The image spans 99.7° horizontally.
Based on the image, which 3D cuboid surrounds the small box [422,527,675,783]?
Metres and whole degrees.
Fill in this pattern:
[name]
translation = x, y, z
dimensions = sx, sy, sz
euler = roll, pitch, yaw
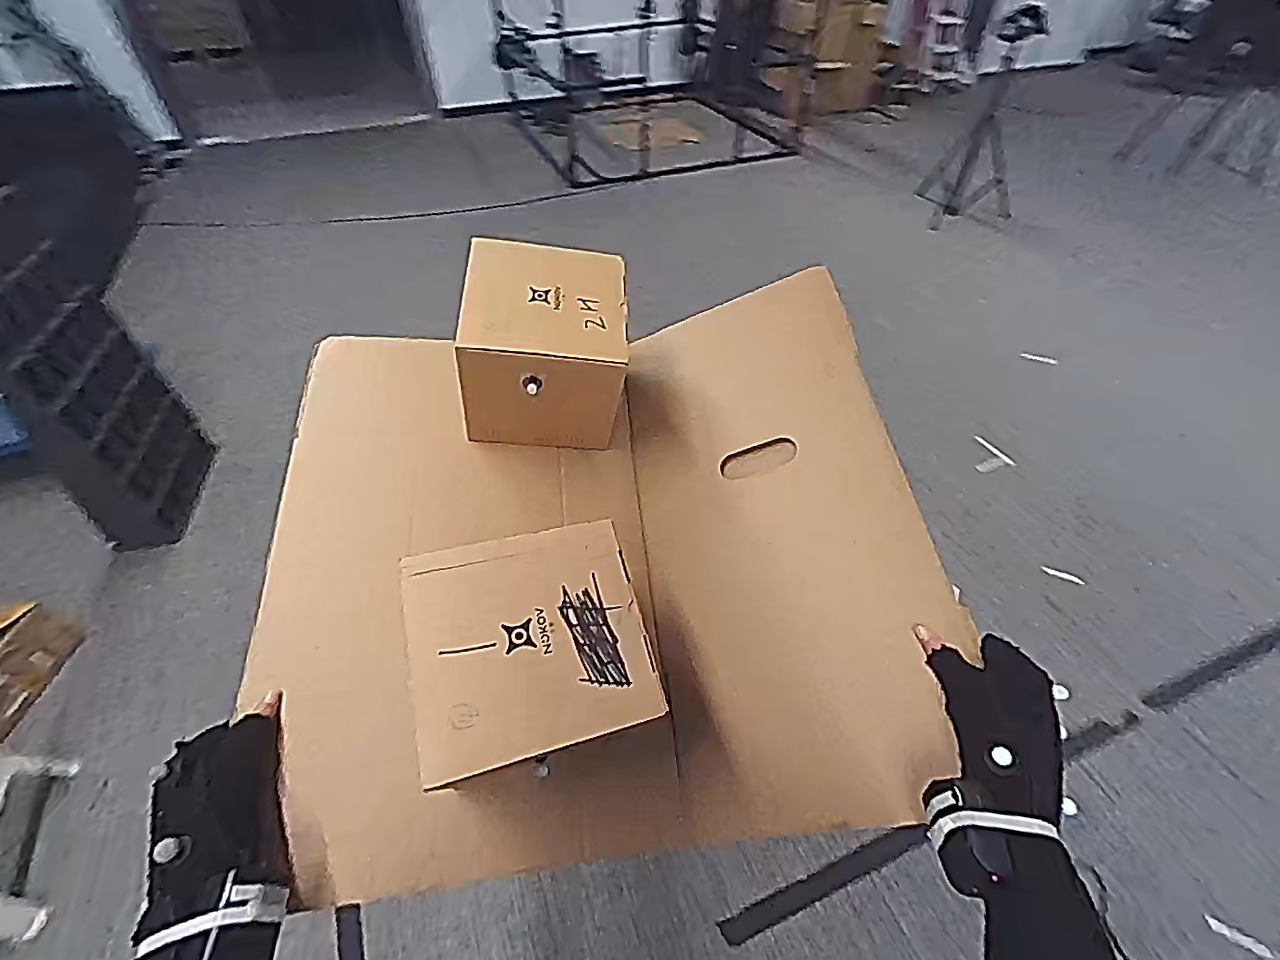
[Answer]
[small box]
translation = -0.089, 0.159, 0.491
dimensions = 0.179, 0.176, 0.168
euler = -8, 64, -16
